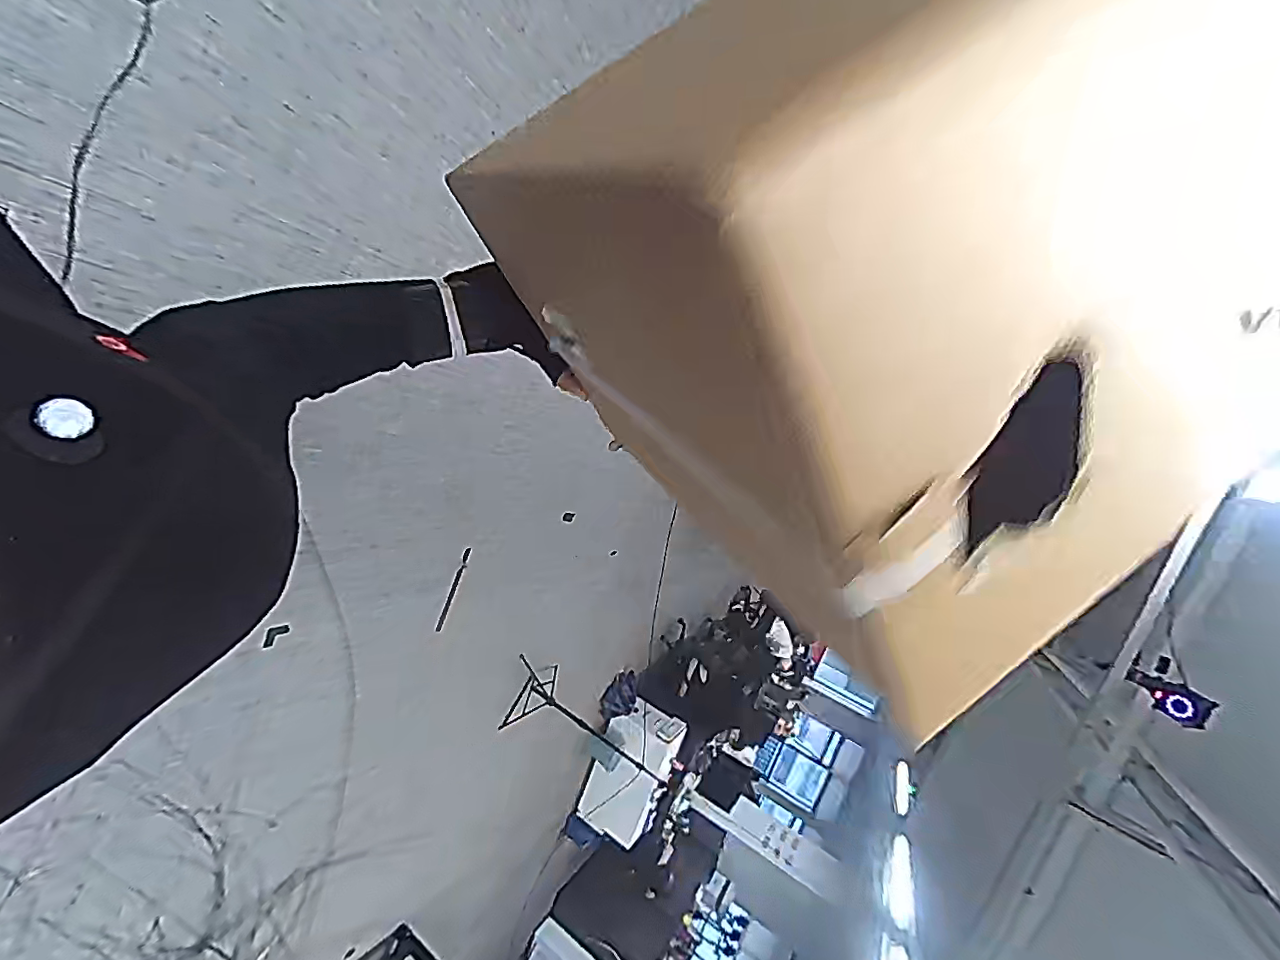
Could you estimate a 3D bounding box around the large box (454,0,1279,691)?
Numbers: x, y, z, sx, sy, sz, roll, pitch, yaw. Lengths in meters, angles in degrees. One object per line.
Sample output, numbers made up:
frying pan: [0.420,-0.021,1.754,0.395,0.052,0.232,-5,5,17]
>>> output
large box: [0.117,-0.150,0.387,0.320,0.408,0.320,-38,127,-6]
